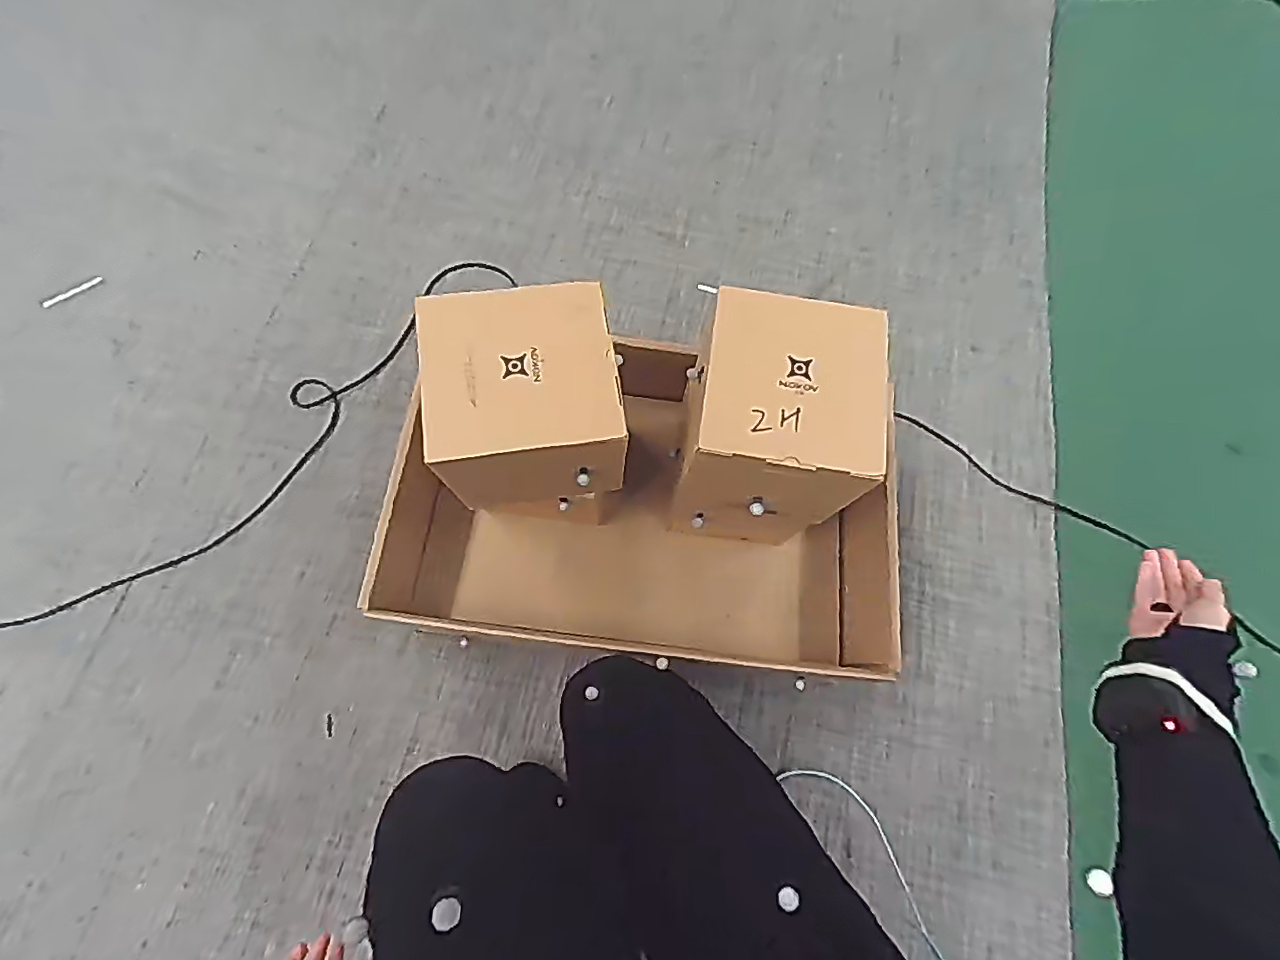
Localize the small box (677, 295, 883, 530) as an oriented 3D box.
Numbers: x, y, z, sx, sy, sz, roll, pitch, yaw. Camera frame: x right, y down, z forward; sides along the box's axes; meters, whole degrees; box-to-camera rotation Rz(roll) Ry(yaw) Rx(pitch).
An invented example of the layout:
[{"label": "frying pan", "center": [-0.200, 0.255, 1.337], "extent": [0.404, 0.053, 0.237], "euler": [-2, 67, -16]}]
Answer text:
[{"label": "small box", "center": [0.136, -0.060, 0.569], "extent": [0.168, 0.176, 0.179], "euler": [9, 72, 1]}]

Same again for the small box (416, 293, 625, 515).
[{"label": "small box", "center": [-0.116, -0.069, 0.563], "extent": [0.179, 0.176, 0.168], "euler": [-8, 73, -6]}]
